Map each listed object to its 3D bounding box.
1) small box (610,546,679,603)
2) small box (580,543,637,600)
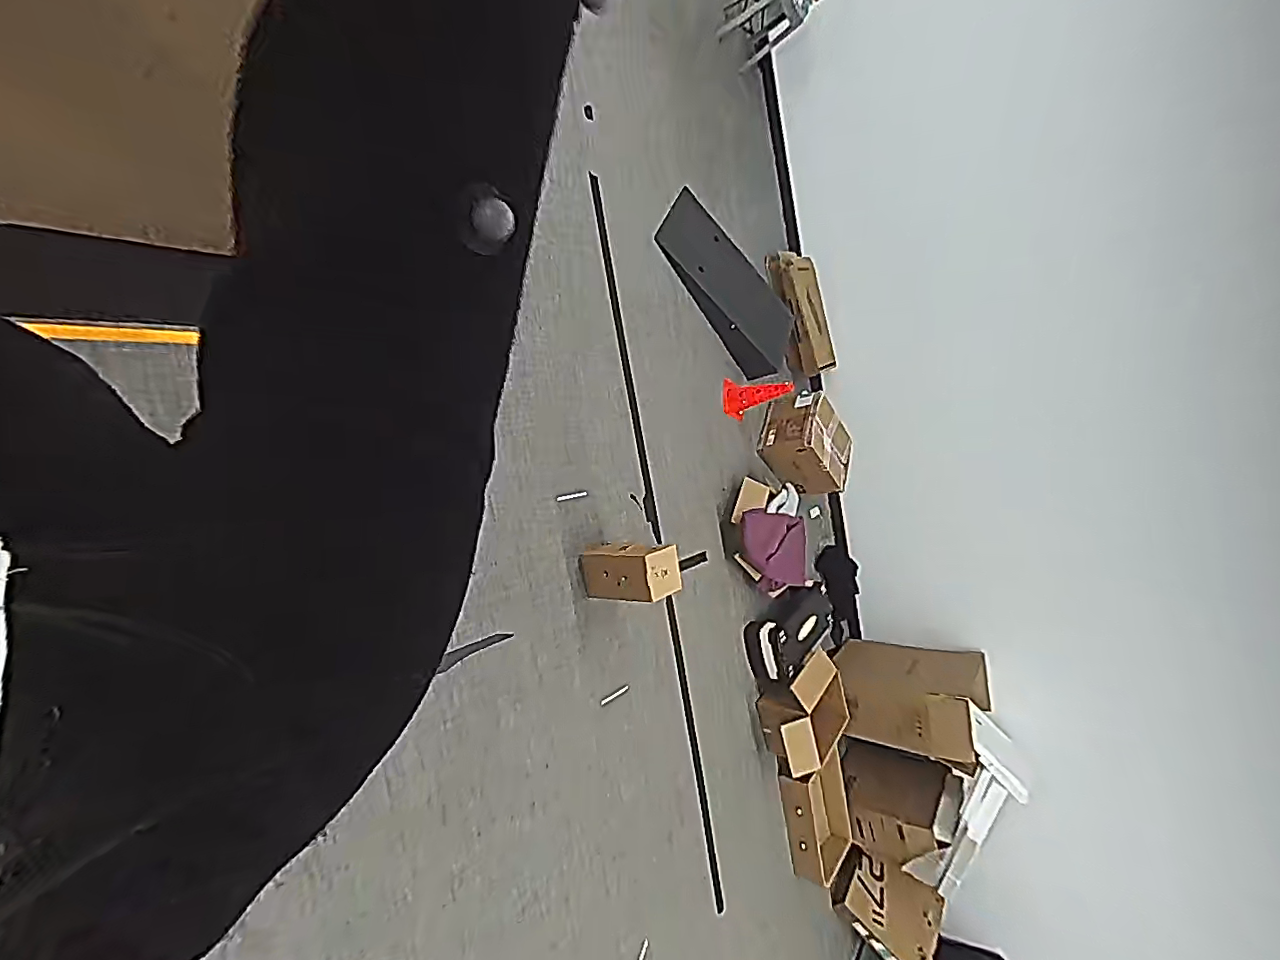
[{"bbox_3d":[0.016,0.334,1.945,0.179,0.176,0.168,-12,93,-48],"label":"small box"},{"bbox_3d":[-0.108,0.345,2.052,0.168,0.176,0.179,-17,98,-48],"label":"small box"}]
